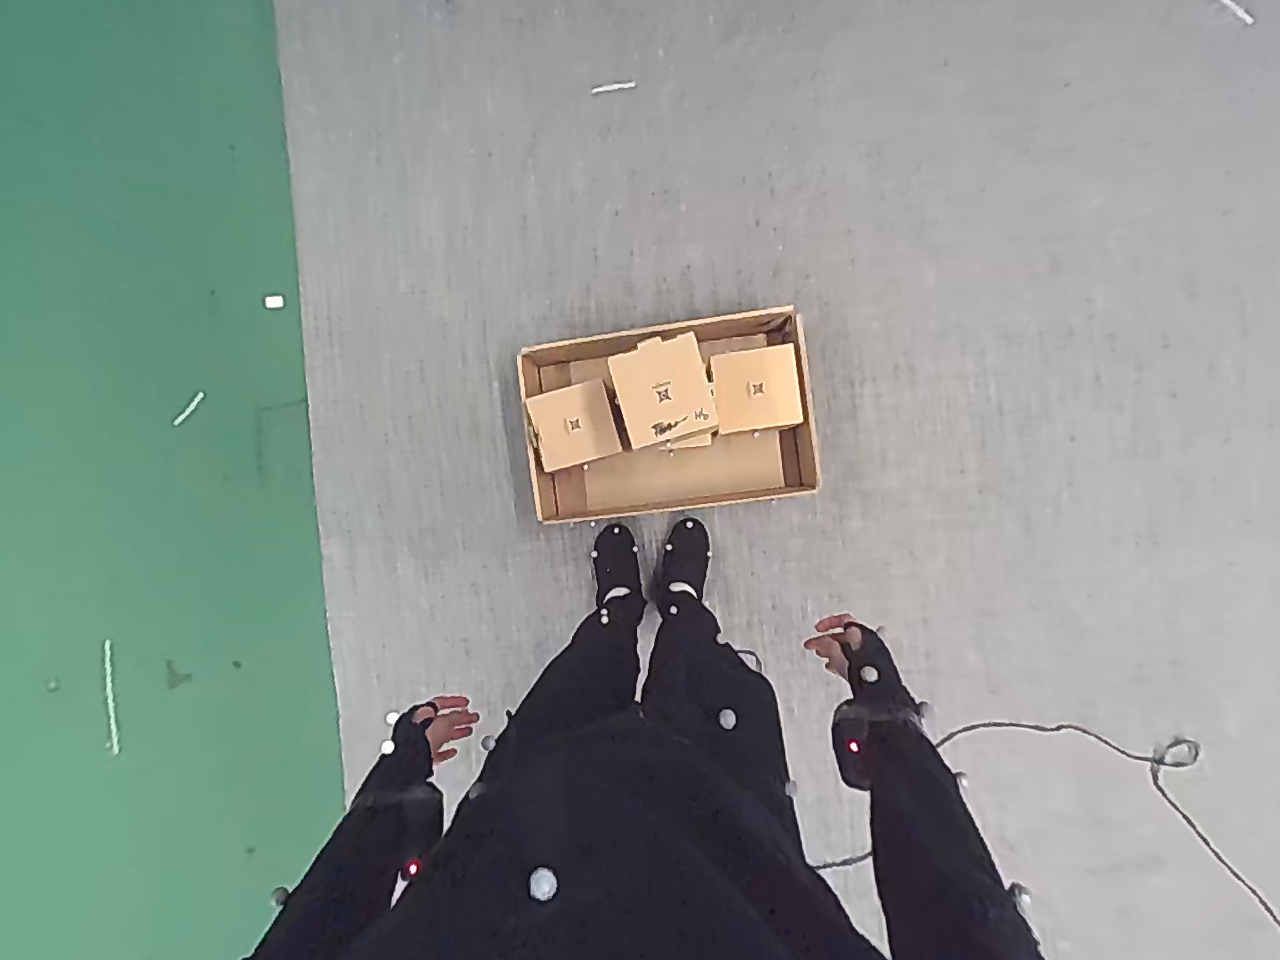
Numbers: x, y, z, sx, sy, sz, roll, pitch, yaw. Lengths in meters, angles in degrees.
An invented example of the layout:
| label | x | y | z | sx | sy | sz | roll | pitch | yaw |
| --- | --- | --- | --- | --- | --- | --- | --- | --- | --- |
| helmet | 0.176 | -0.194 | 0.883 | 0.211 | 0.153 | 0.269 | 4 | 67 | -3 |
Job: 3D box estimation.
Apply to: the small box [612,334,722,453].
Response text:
| label | x | y | z | sx | sy | sz | roll | pitch | yaw |
| --- | --- | --- | --- | --- | --- | --- | --- | --- | --- |
| small box | 0.054 | -0.158 | 1.050 | 0.168 | 0.176 | 0.179 | -16 | 89 | 6 |
